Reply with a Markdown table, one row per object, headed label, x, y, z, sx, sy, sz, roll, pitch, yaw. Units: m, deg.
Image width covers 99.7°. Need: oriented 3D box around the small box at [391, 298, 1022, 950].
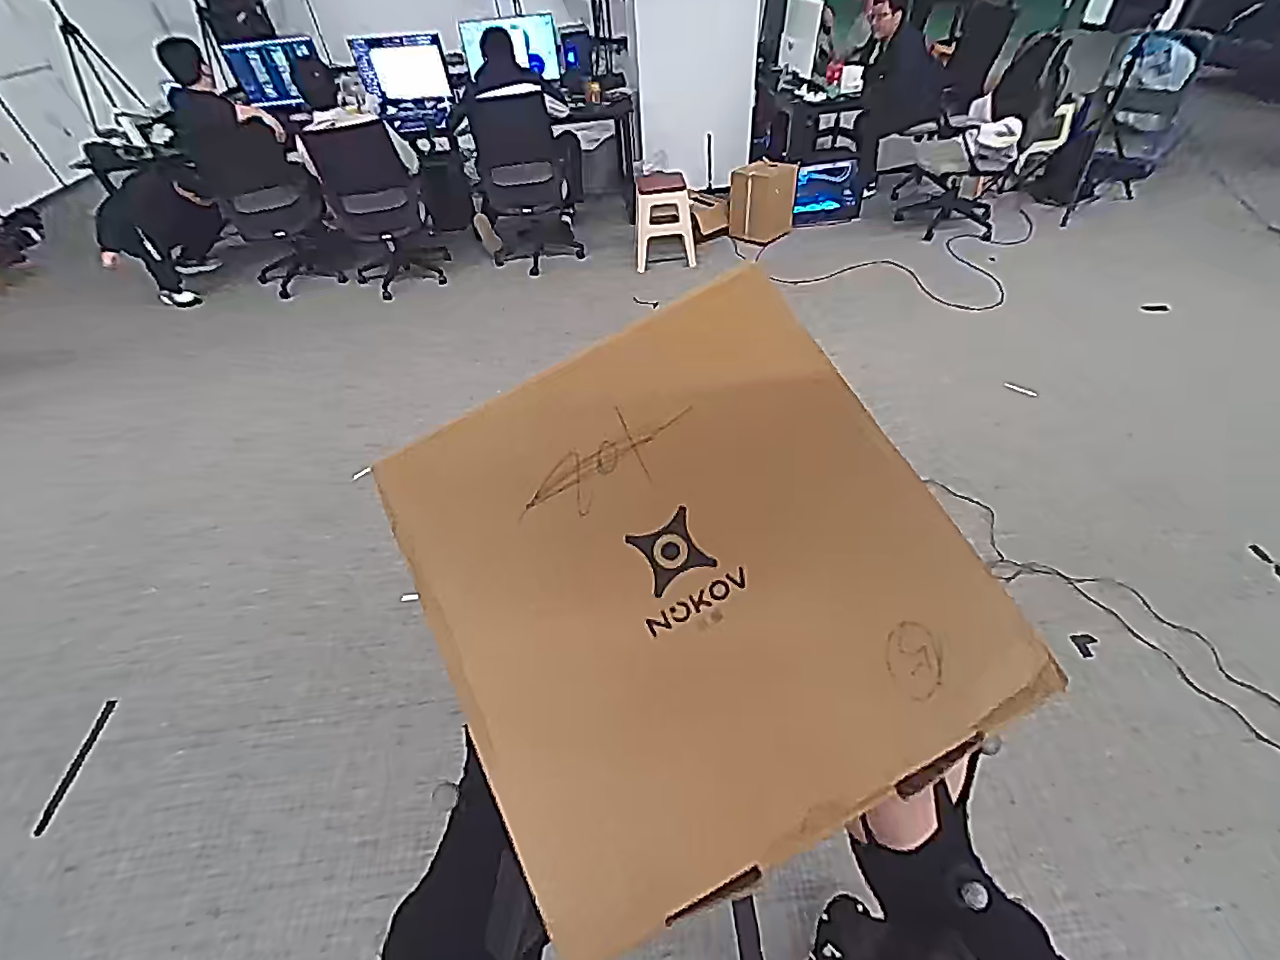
| label | x | y | z | sx | sy | sz | roll | pitch | yaw |
| --- | --- | --- | --- | --- | --- | --- | --- | --- | --- |
| small box | 0.021 | 0.057 | 0.267 | 0.168 | 0.176 | 0.179 | -29 | 71 | -3 |
